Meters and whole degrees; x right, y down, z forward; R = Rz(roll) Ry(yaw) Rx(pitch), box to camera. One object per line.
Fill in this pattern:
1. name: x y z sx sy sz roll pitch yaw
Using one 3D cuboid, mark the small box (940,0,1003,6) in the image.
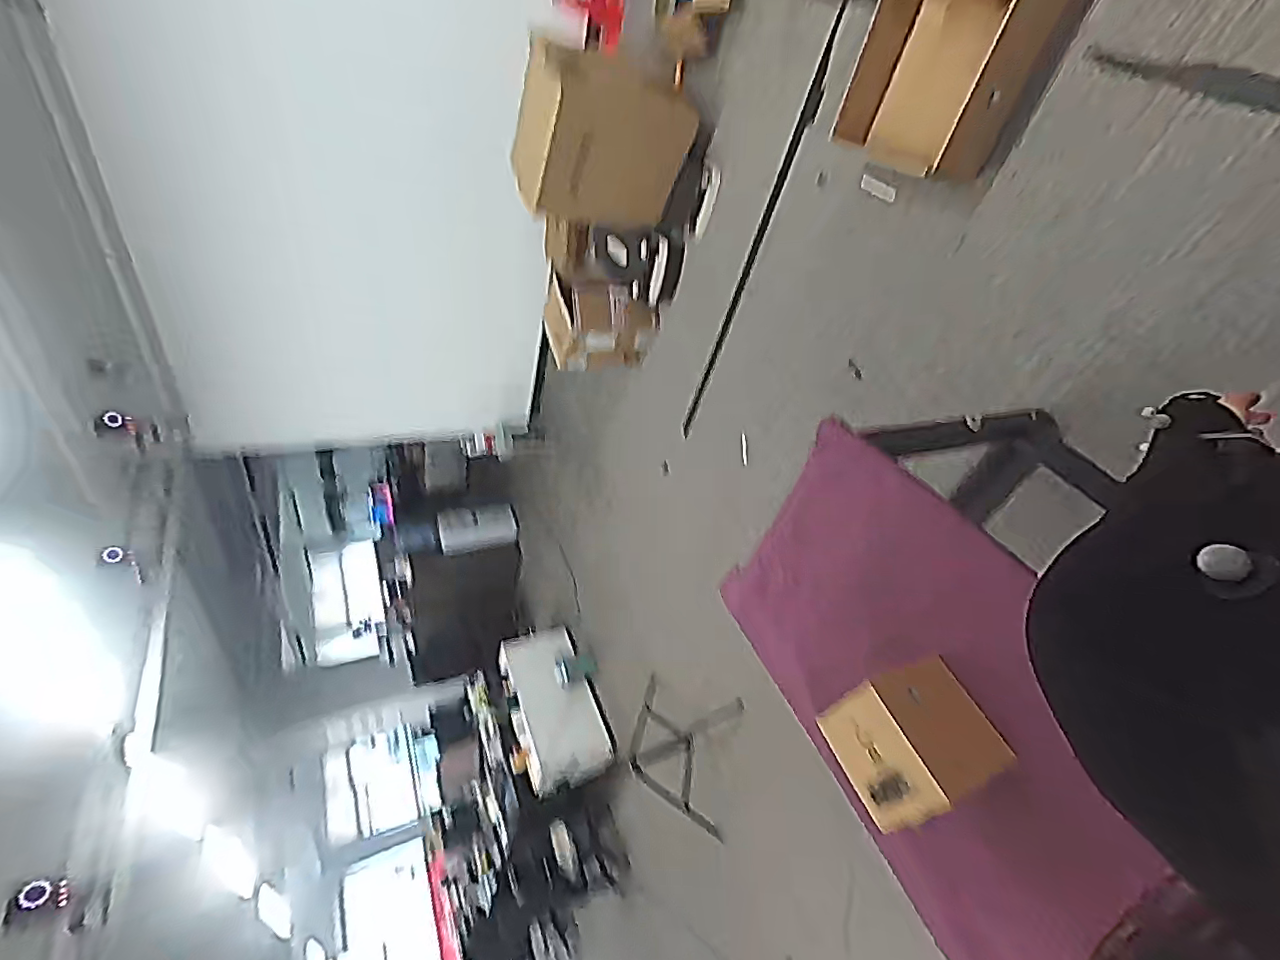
1. small box: 0.776 -1.235 1.260 0.179 0.176 0.168 55 142 41
